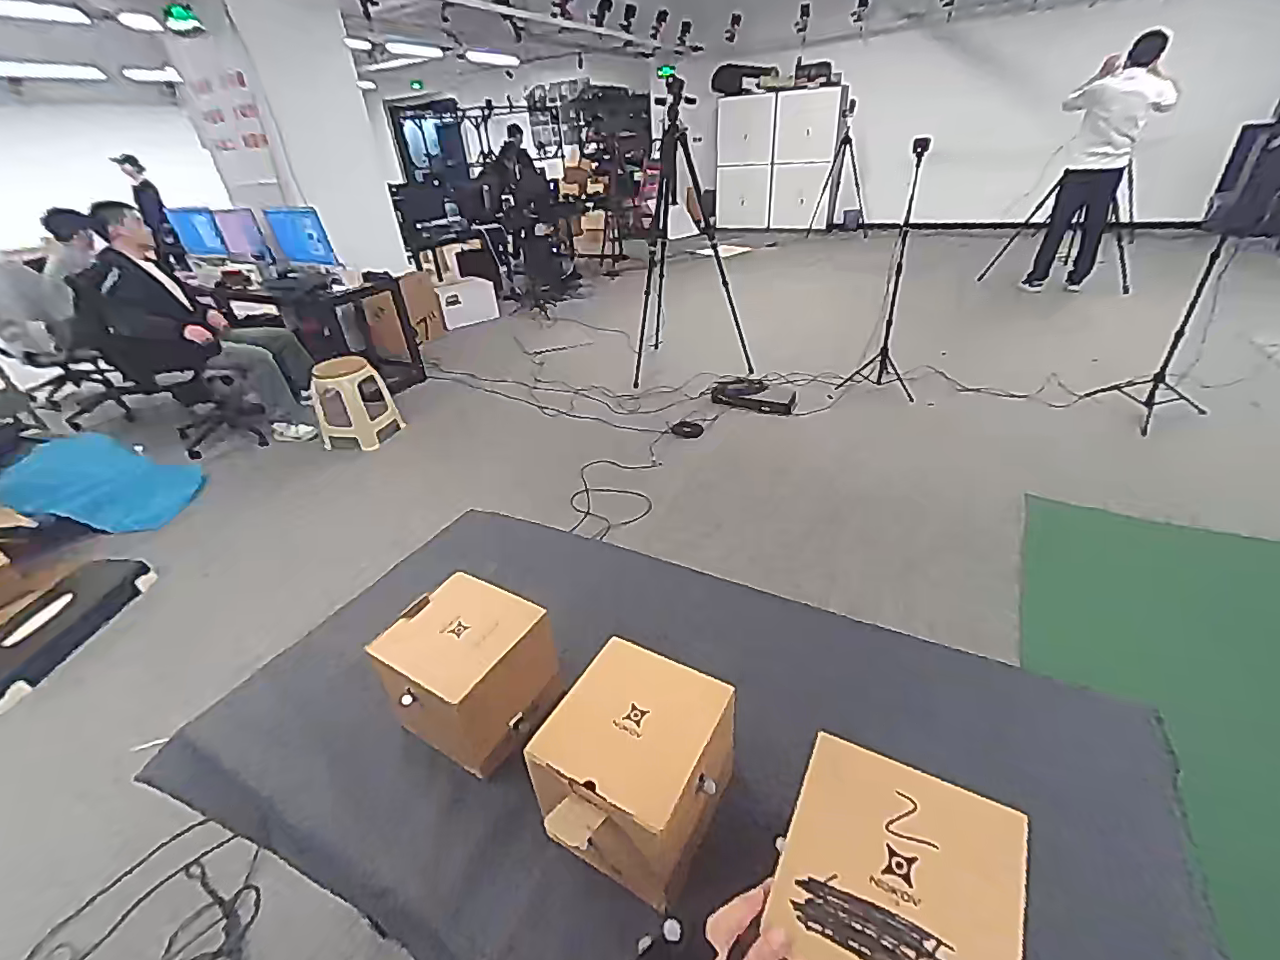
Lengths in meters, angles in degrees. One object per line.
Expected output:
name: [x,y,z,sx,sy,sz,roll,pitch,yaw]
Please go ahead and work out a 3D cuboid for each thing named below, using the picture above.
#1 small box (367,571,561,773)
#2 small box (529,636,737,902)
small box: [-0.232,0.261,0.747,0.179,0.176,0.168,16,38,28]
small box: [-0.001,0.323,0.622,0.168,0.176,0.179,15,37,27]
